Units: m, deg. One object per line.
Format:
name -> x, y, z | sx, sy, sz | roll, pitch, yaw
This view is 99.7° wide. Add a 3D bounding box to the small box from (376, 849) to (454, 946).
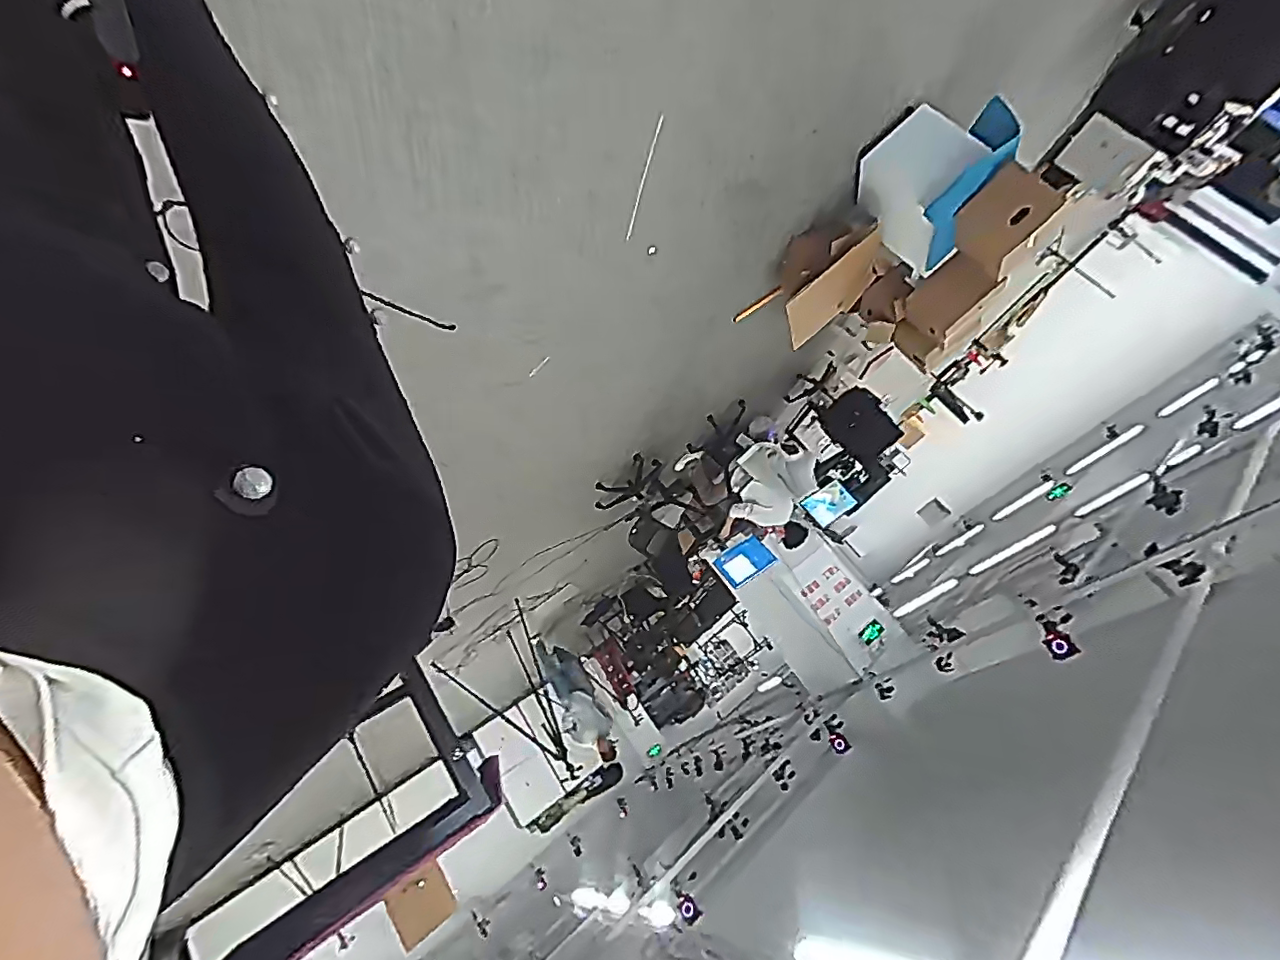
small box -> -0.686, 1.260, 1.644 | 0.168, 0.176, 0.179 | -25, 159, -35
